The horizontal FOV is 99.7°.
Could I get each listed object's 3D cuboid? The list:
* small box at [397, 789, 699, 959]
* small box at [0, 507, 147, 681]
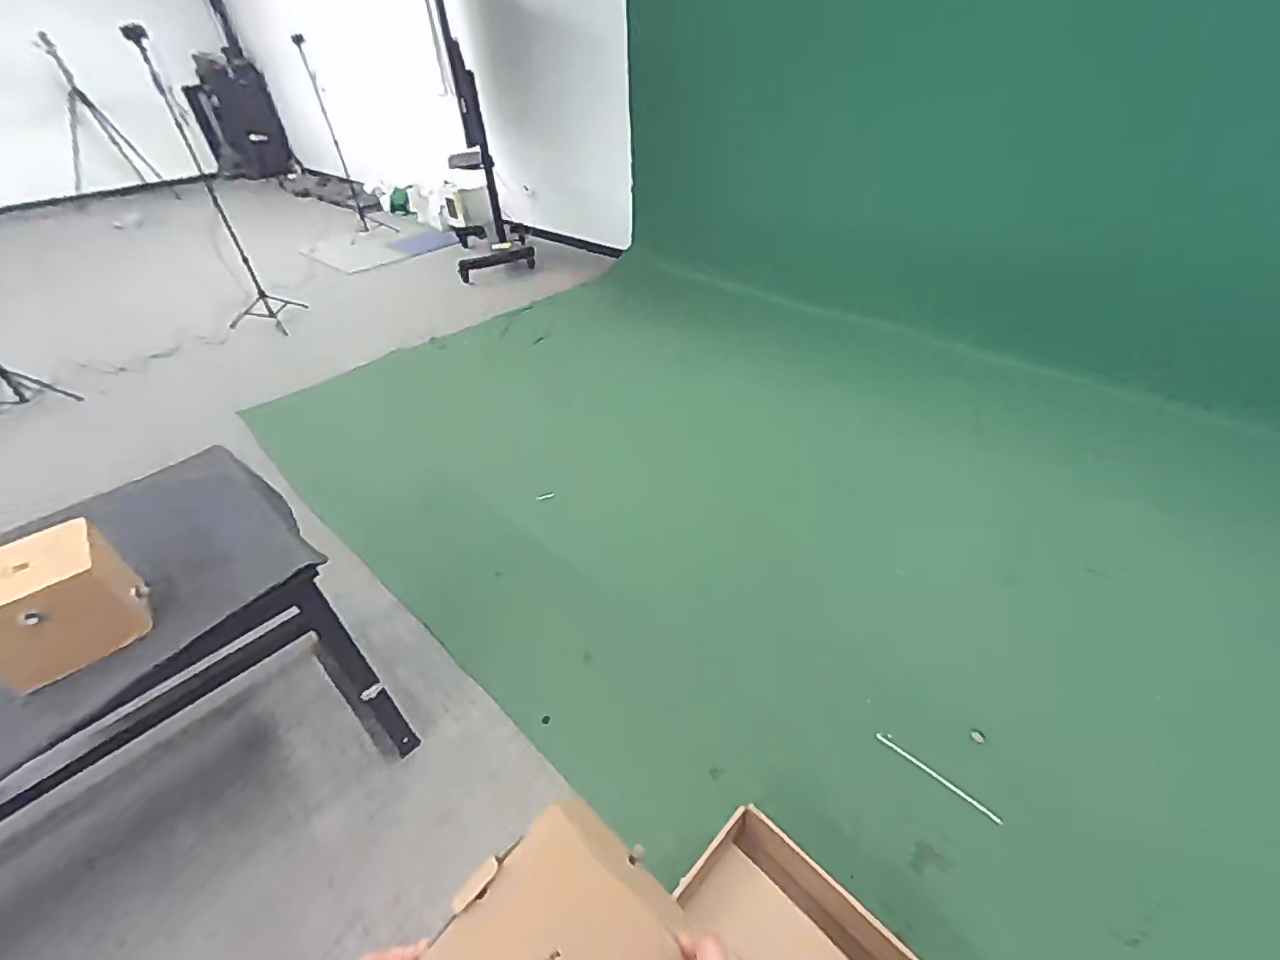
[{"bbox_3d":[-0.071,0.404,0.475,0.179,0.176,0.168,39,70,18],"label":"small box"},{"bbox_3d":[-0.953,0.182,0.867,0.179,0.176,0.168,-31,49,-32],"label":"small box"}]
